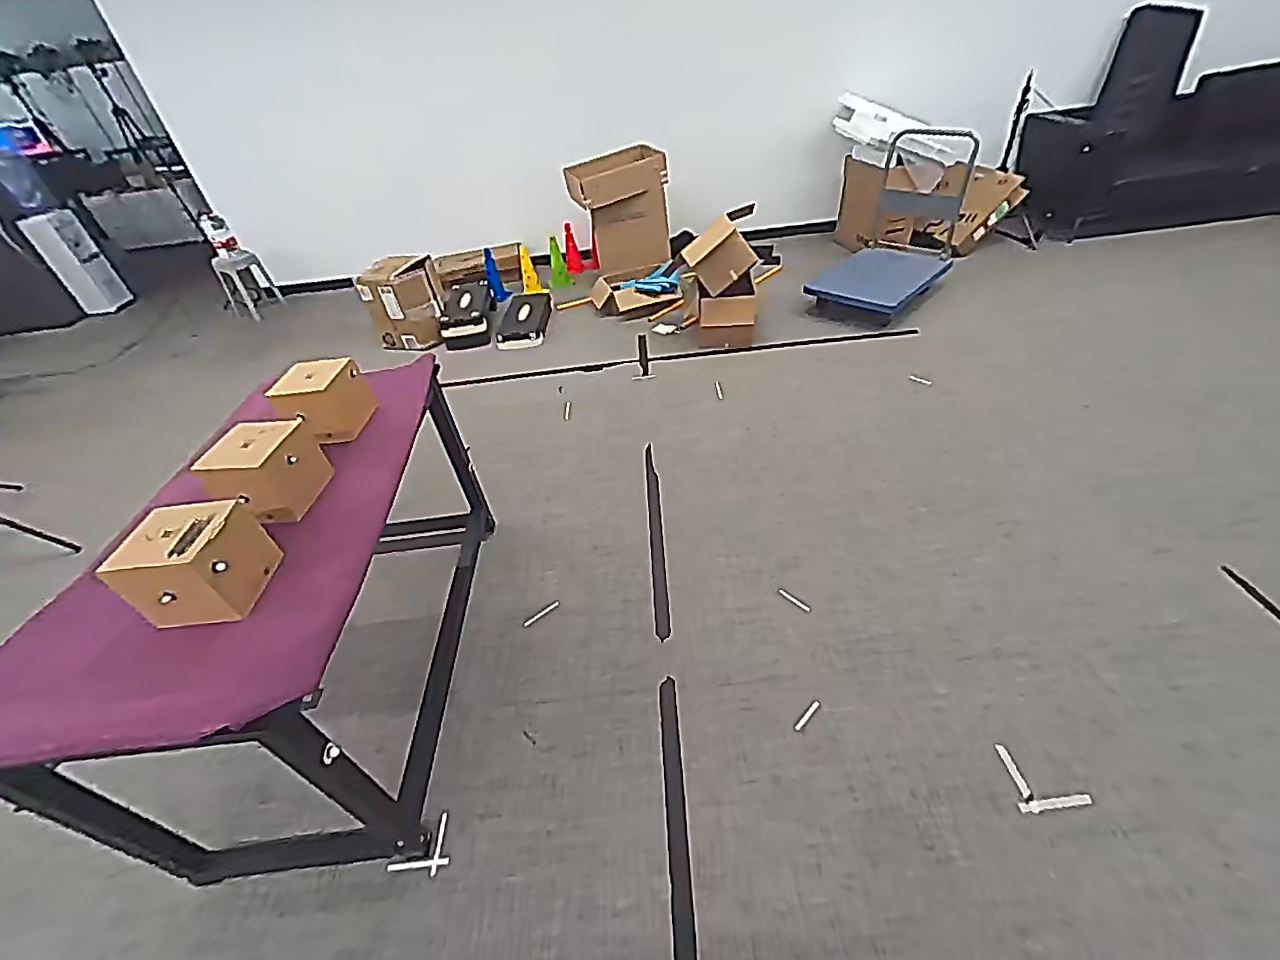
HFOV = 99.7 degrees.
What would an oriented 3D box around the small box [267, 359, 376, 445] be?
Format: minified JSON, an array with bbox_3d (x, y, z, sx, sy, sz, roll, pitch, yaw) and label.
[{"bbox_3d":[-0.859,-0.208,1.483,0.168,0.176,0.179,-5,40,5],"label":"small box"}]

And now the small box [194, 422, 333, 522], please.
[{"bbox_3d":[-0.856,-0.015,1.253,0.168,0.176,0.179,-1,40,7],"label":"small box"}]
